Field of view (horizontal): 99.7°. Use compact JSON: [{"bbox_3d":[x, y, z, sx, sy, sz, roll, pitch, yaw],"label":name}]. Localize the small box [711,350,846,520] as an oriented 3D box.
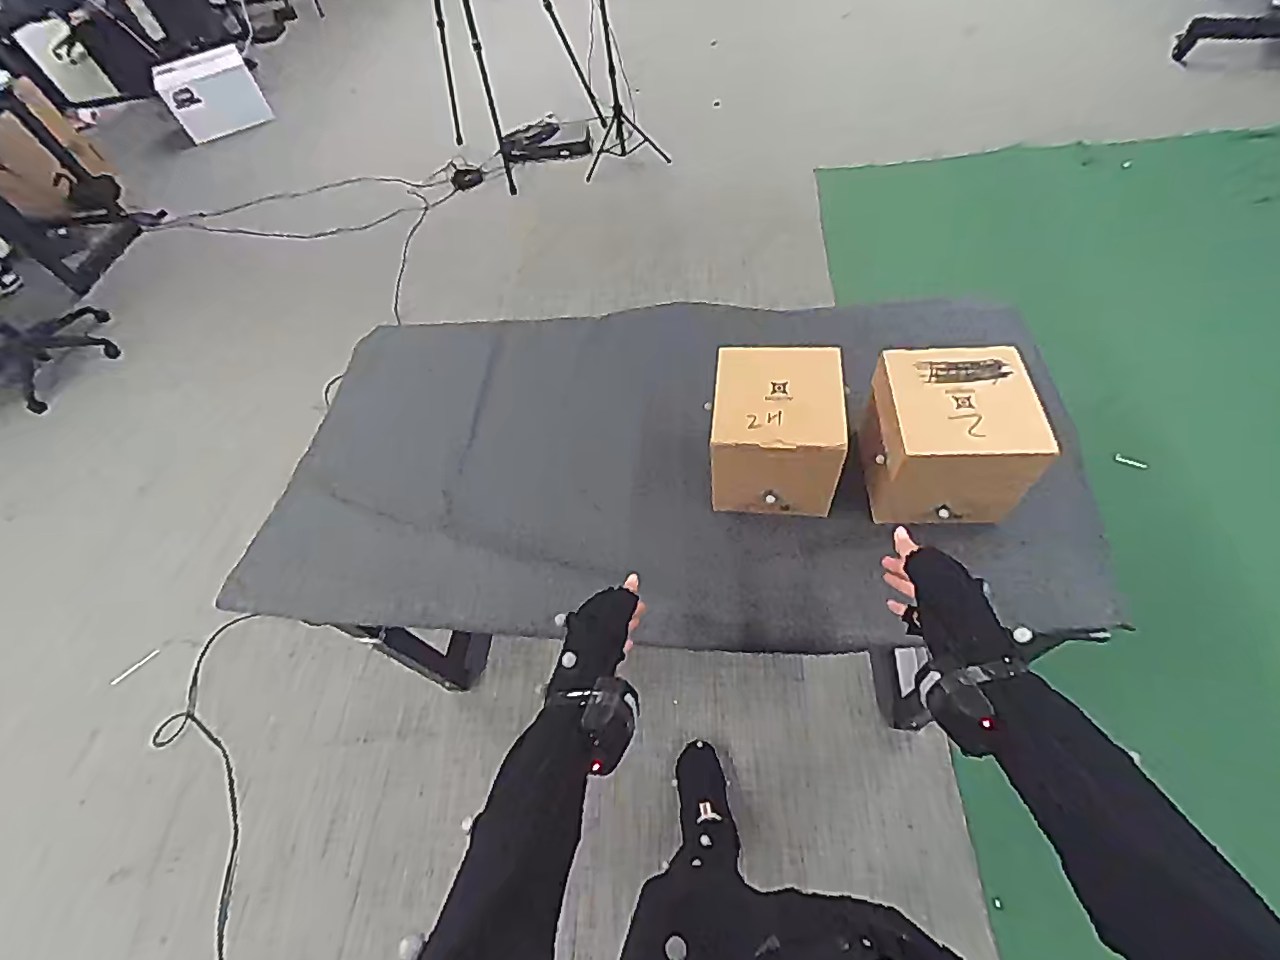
[{"bbox_3d":[0.191,-0.064,0.774,0.168,0.176,0.179,2,56,11],"label":"small box"}]
